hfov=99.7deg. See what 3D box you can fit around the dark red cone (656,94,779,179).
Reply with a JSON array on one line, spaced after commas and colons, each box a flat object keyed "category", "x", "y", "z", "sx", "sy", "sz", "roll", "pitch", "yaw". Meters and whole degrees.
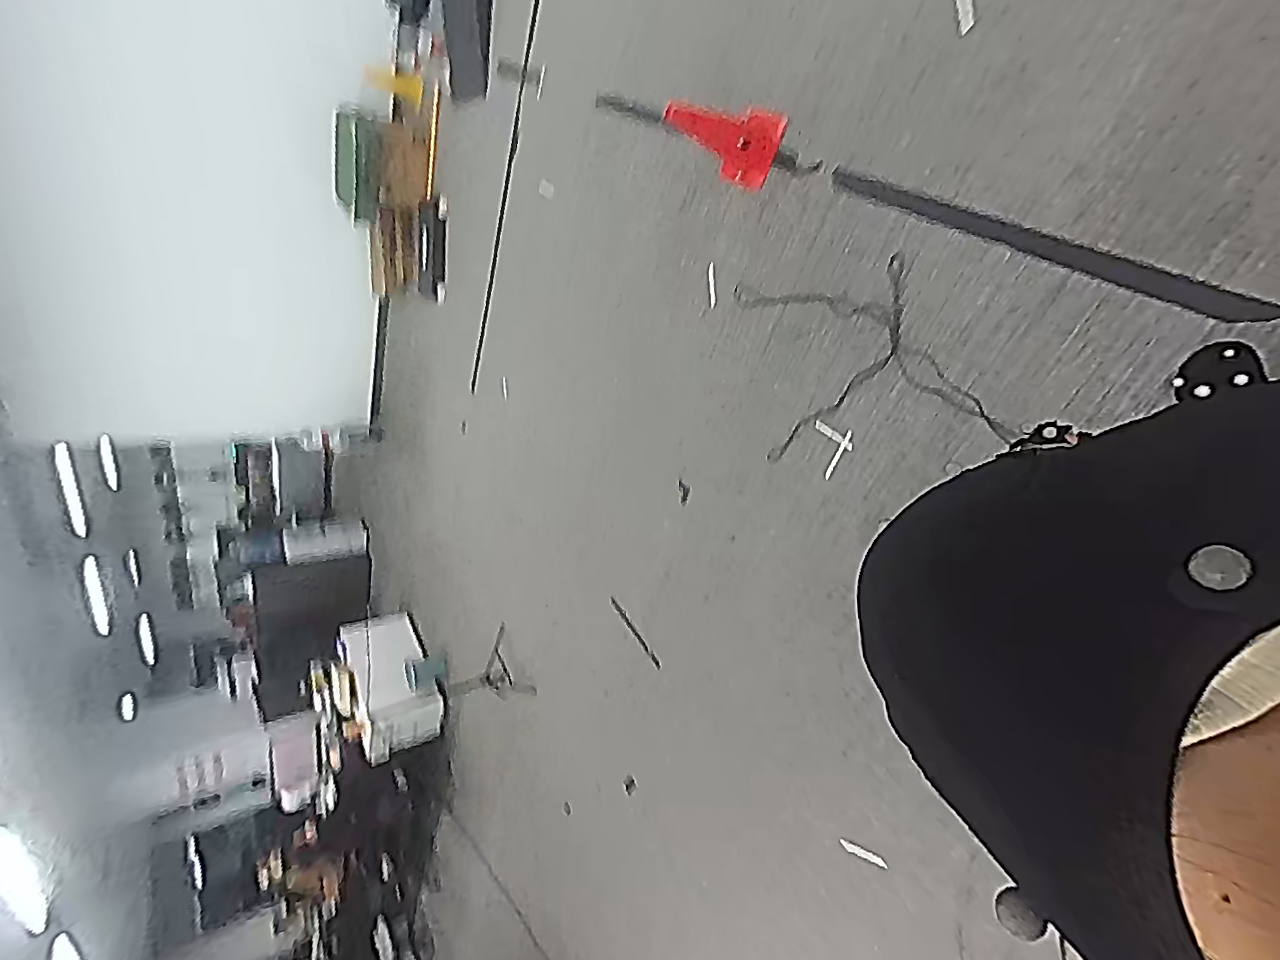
[{"category": "dark red cone", "x": 0.202, "y": -1.030, "z": 1.556, "sx": 0.202, "sy": 0.394, "sz": 0.201, "roll": 46, "pitch": 129, "yaw": 36}]
